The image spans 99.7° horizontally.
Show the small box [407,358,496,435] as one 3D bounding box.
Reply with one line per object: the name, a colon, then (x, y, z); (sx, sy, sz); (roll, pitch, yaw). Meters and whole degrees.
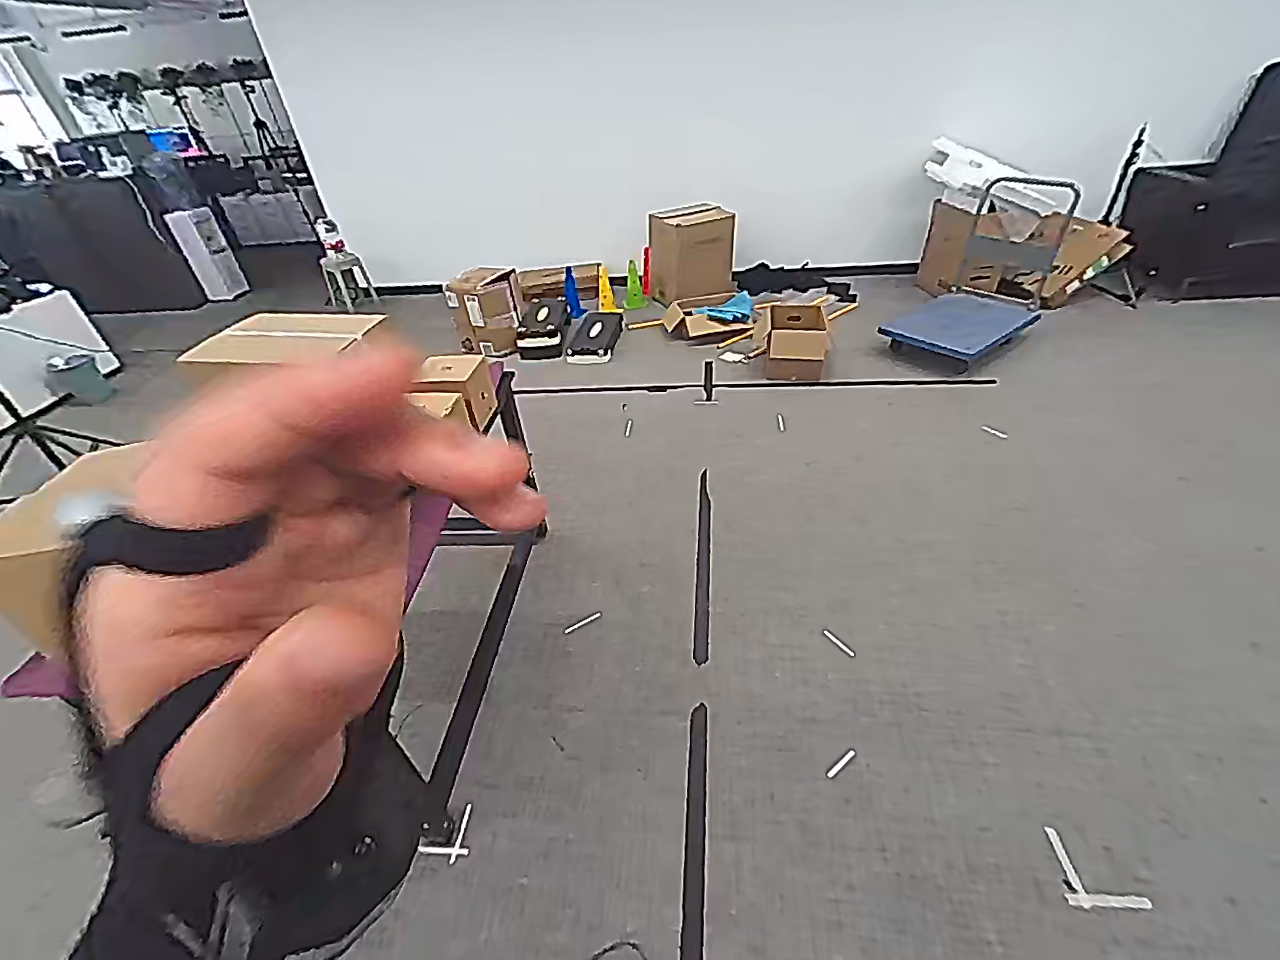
small box: (-0.536, -0.241, 1.573); (0.179, 0.176, 0.168); (0, 37, 7)
